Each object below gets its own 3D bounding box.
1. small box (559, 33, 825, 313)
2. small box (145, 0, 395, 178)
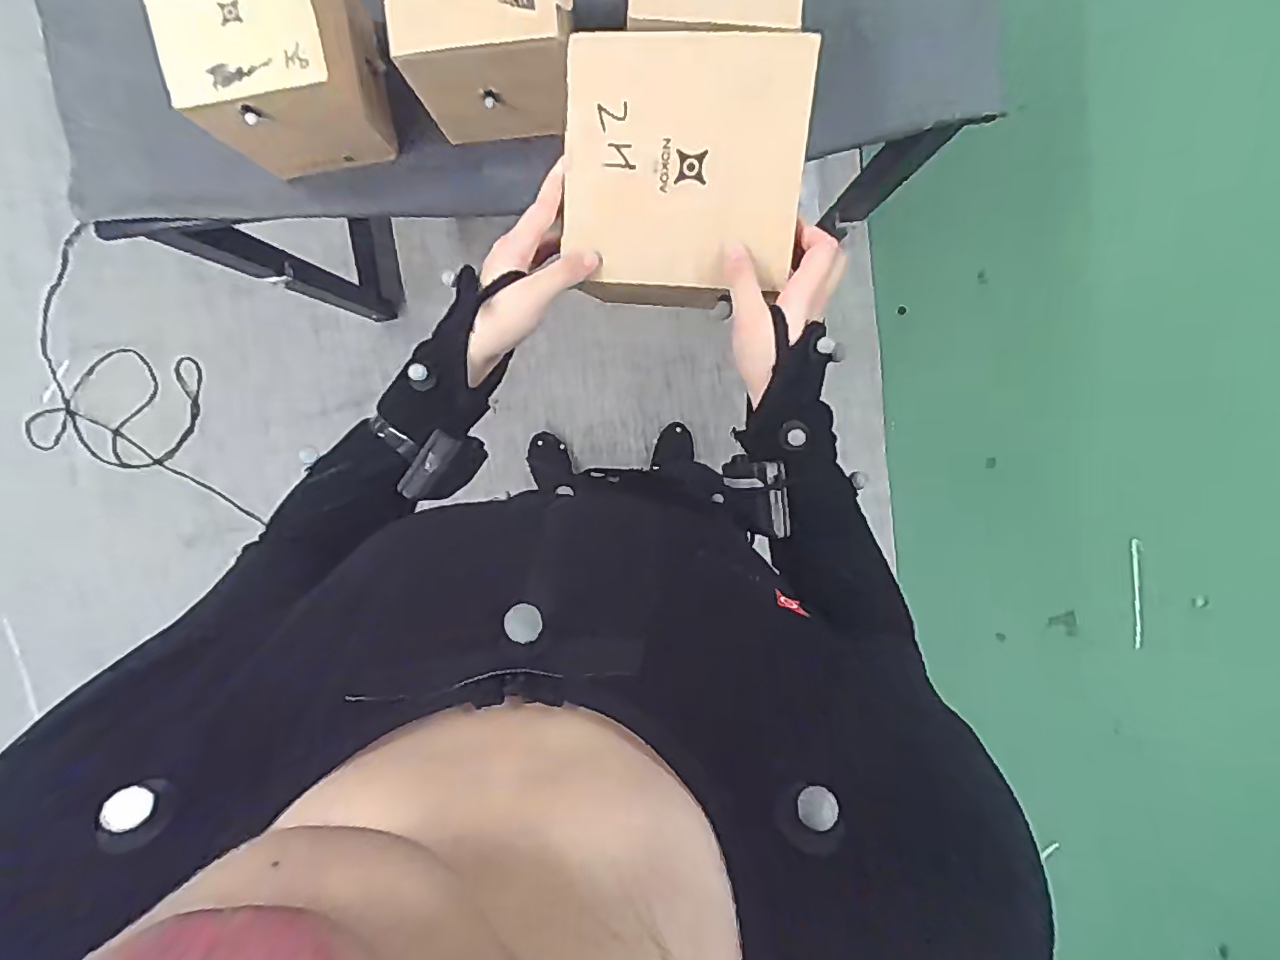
[{"bbox_3d":[0.042,-0.238,0.462,0.179,0.176,0.168,7,103,8],"label":"small box"},{"bbox_3d":[-0.408,-0.482,0.617,0.168,0.176,0.179,-9,96,2],"label":"small box"}]
